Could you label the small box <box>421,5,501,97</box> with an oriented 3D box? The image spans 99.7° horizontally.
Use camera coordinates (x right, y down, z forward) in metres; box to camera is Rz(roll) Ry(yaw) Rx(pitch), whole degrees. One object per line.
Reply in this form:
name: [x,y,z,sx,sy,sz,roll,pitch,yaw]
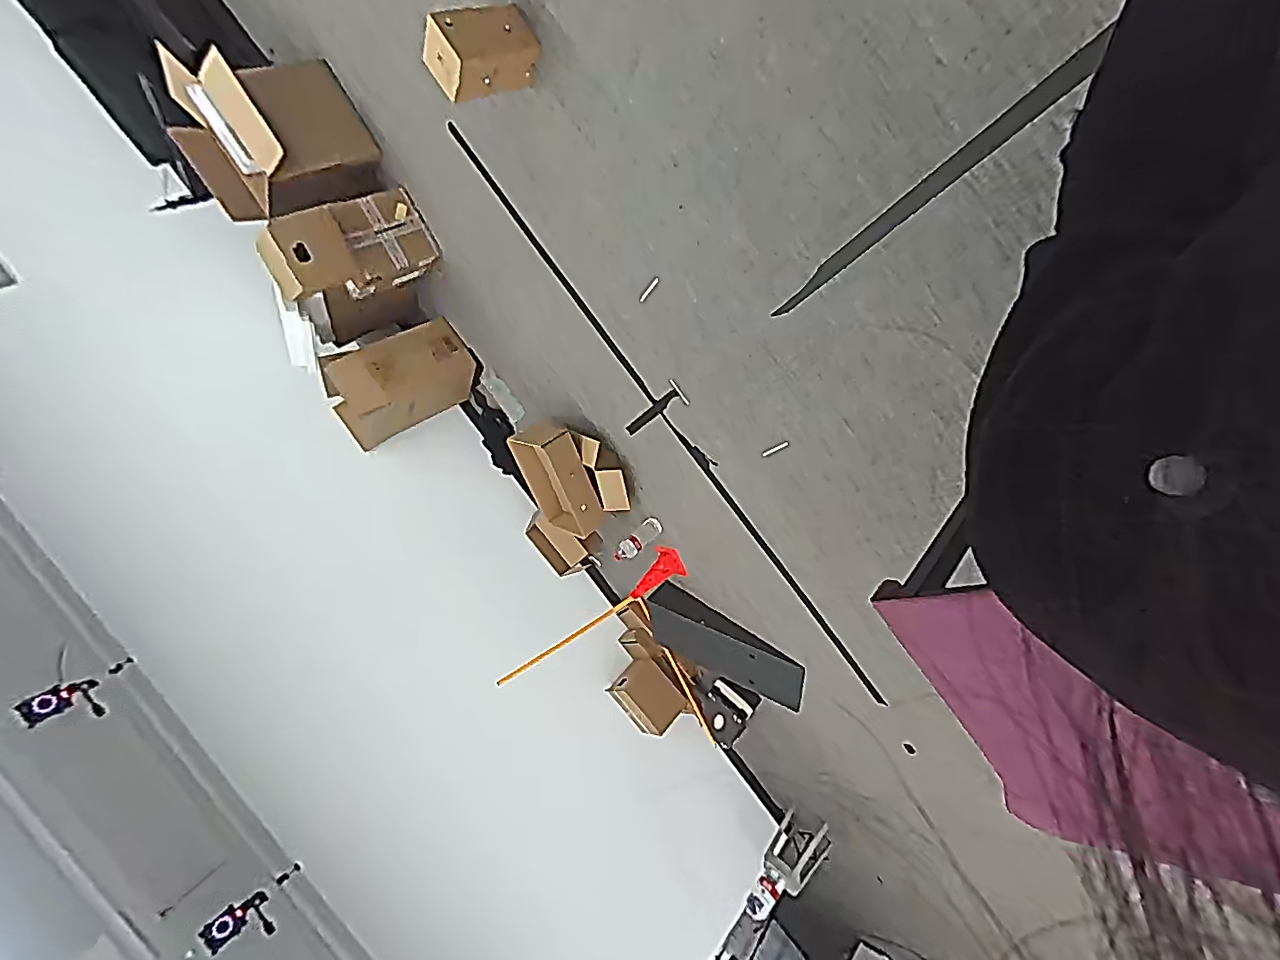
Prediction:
small box: [-0.589,-1.417,1.782,0.179,0.176,0.168,54,151,-6]
